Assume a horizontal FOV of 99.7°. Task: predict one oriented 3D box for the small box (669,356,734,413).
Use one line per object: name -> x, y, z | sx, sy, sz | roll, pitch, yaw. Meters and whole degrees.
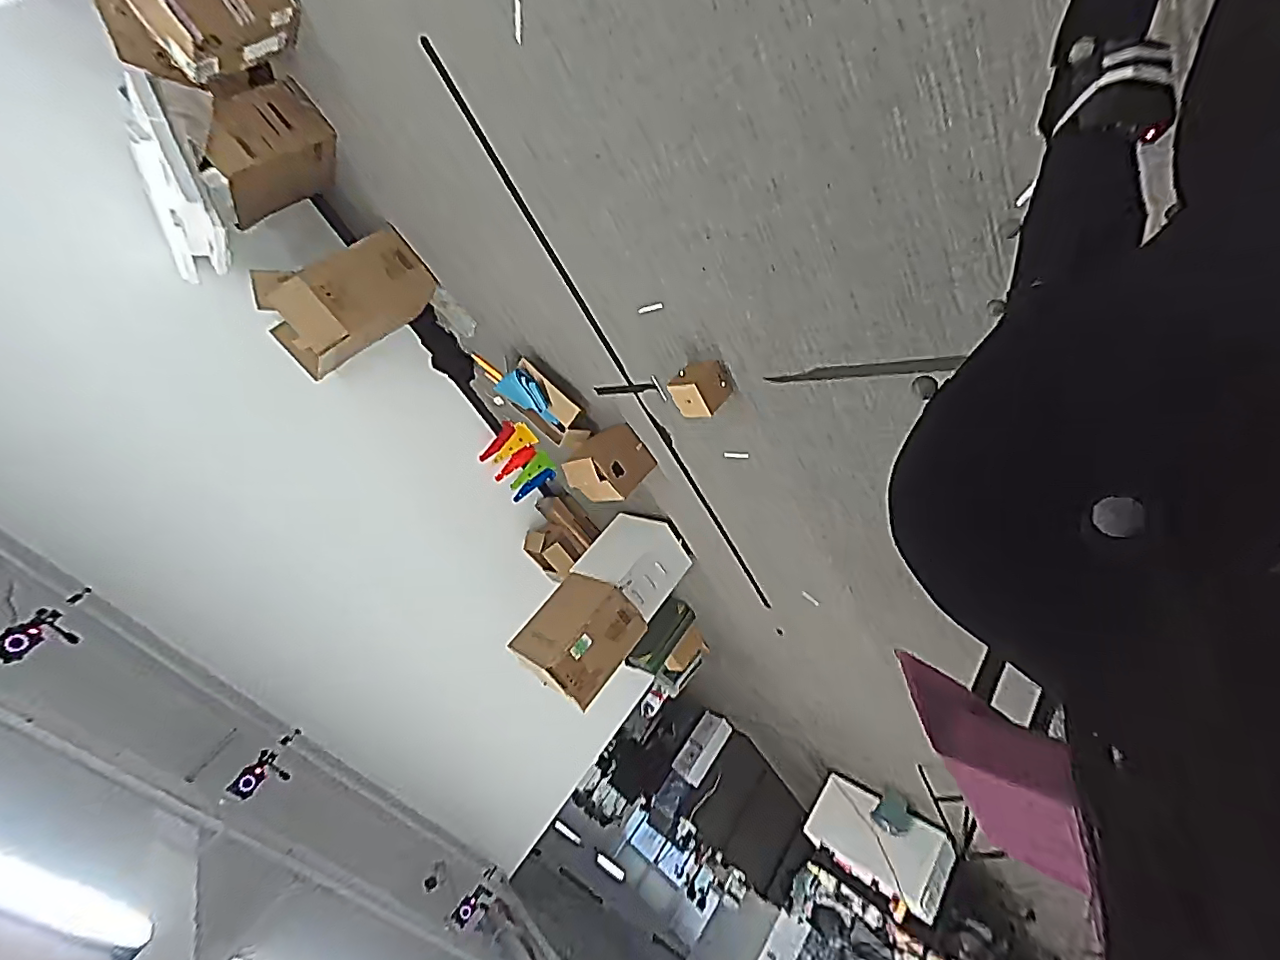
small box -> 0.259, -0.398, 2.267 | 0.179, 0.176, 0.168 | 5, 137, 51
